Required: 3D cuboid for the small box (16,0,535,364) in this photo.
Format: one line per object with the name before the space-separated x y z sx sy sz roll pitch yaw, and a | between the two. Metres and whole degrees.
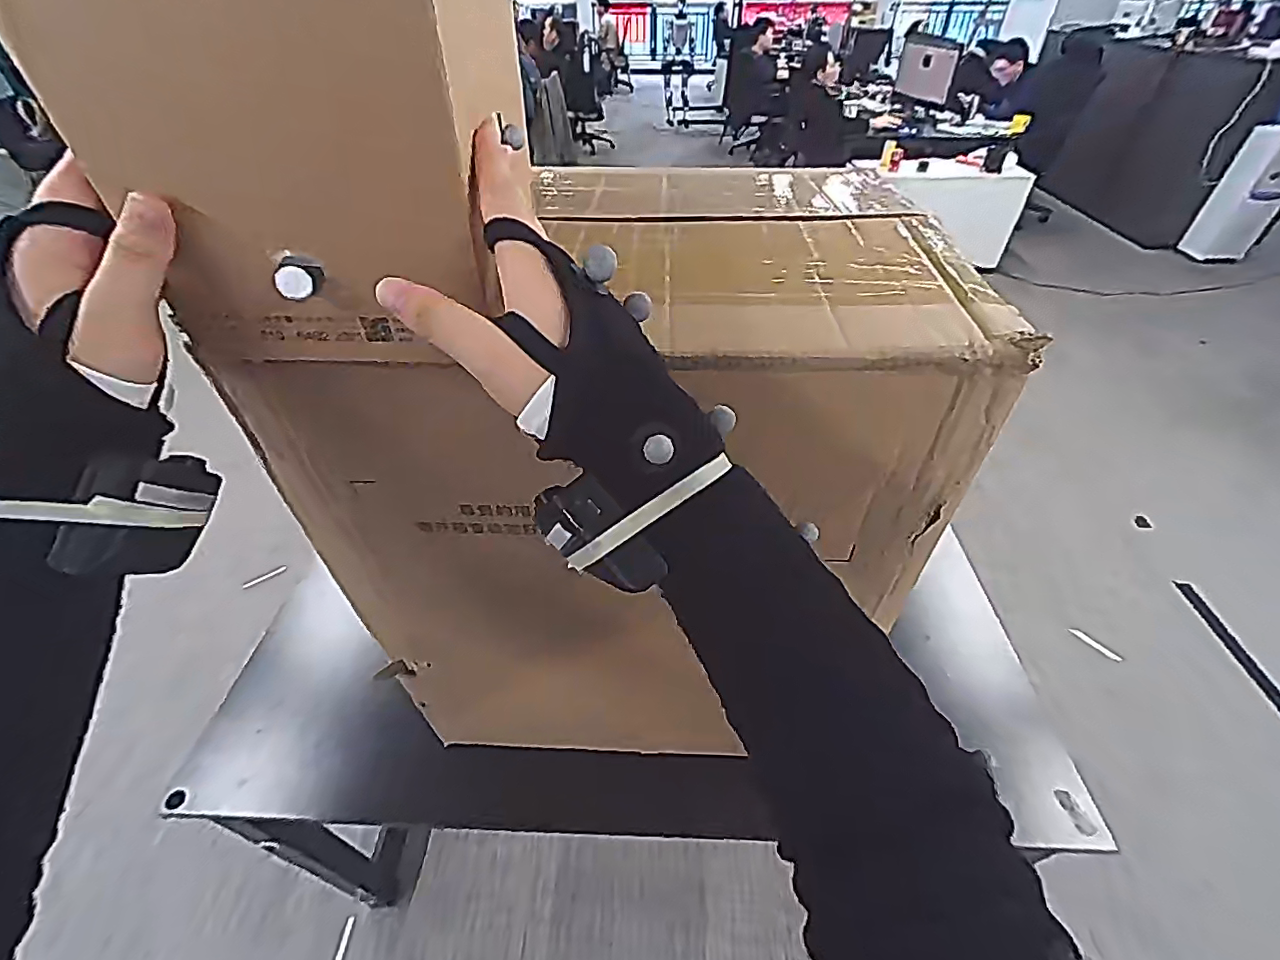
small box | -0.157 -0.186 0.308 0.168 0.176 0.179 0 46 -1
